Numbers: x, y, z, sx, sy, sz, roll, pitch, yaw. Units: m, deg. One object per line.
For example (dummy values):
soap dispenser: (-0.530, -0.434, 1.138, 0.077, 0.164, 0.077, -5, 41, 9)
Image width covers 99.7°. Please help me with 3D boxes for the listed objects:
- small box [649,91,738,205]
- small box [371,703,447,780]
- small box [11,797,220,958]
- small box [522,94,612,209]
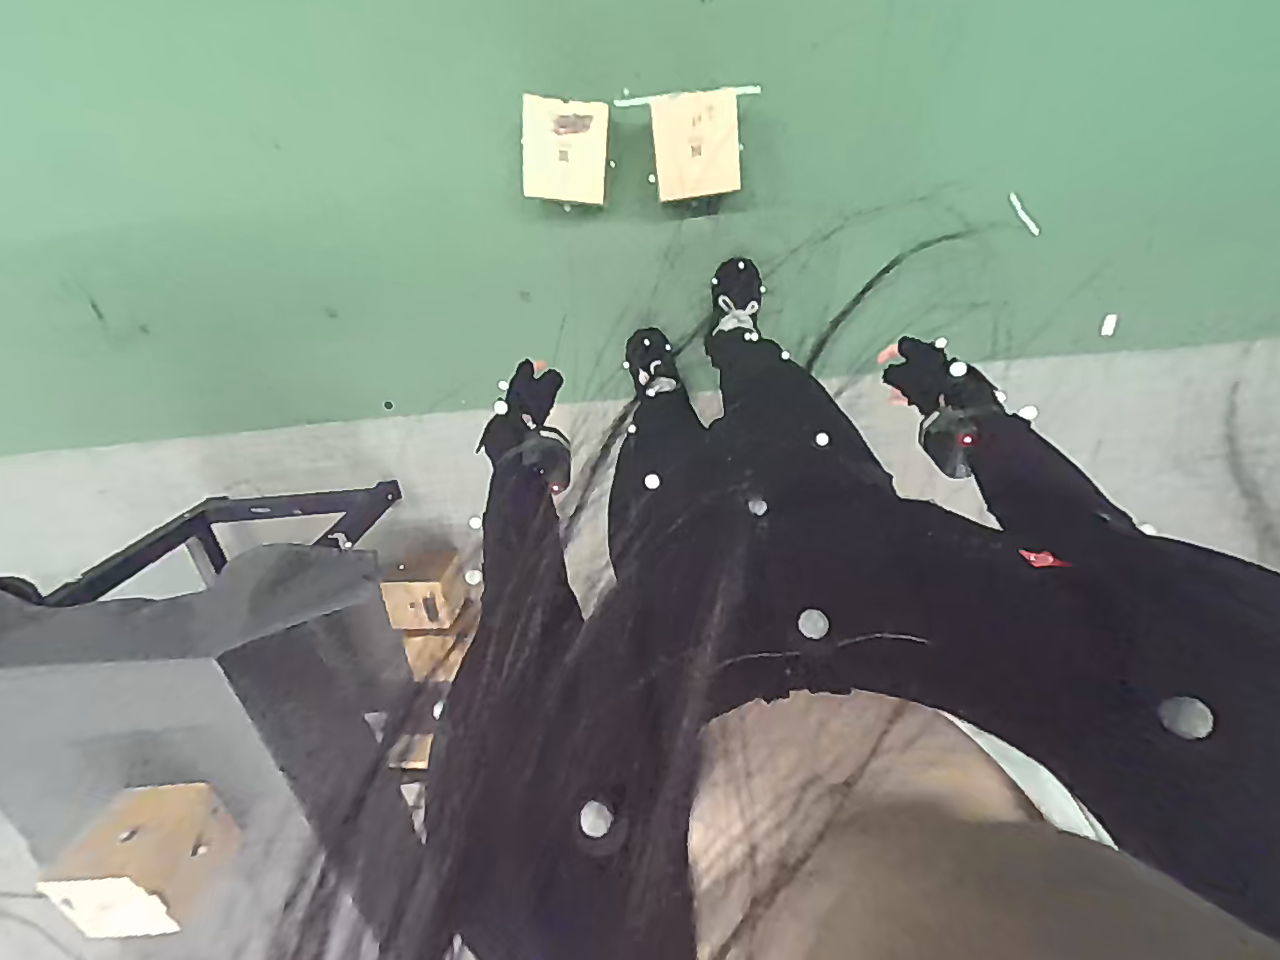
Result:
small box: (0.110, -0.681, 1.129, 0.168, 0.176, 0.179, -6, 114, 2)
small box: (-0.772, 0.876, 1.821, 0.179, 0.176, 0.168, 3, 114, 0)
small box: (-0.886, 0.684, 0.943, 0.179, 0.176, 0.168, -7, 114, 3)
small box: (-0.149, -0.677, 1.133, 0.168, 0.176, 0.179, 6, 115, -2)
